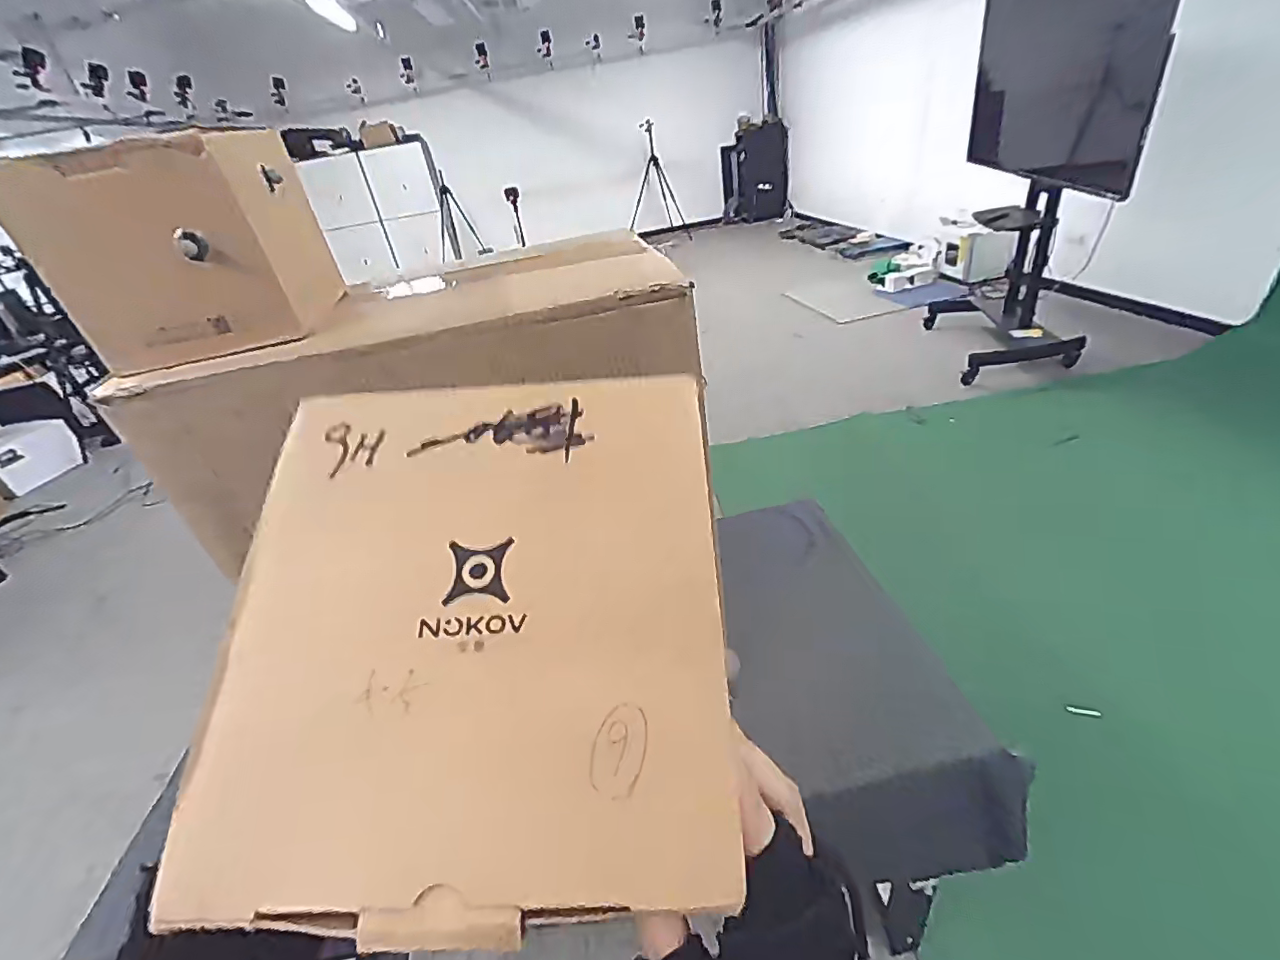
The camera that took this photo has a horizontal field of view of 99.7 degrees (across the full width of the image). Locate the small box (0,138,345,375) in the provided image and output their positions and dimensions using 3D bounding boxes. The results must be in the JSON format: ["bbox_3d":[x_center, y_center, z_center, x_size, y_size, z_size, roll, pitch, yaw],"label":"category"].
[{"bbox_3d":[-0.411,-0.210,0.512,0.168,0.176,0.179,-13,33,-6],"label":"small box"}]

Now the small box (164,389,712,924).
[{"bbox_3d":[-0.055,0.079,0.261,0.168,0.176,0.179,-3,64,2],"label":"small box"}]
